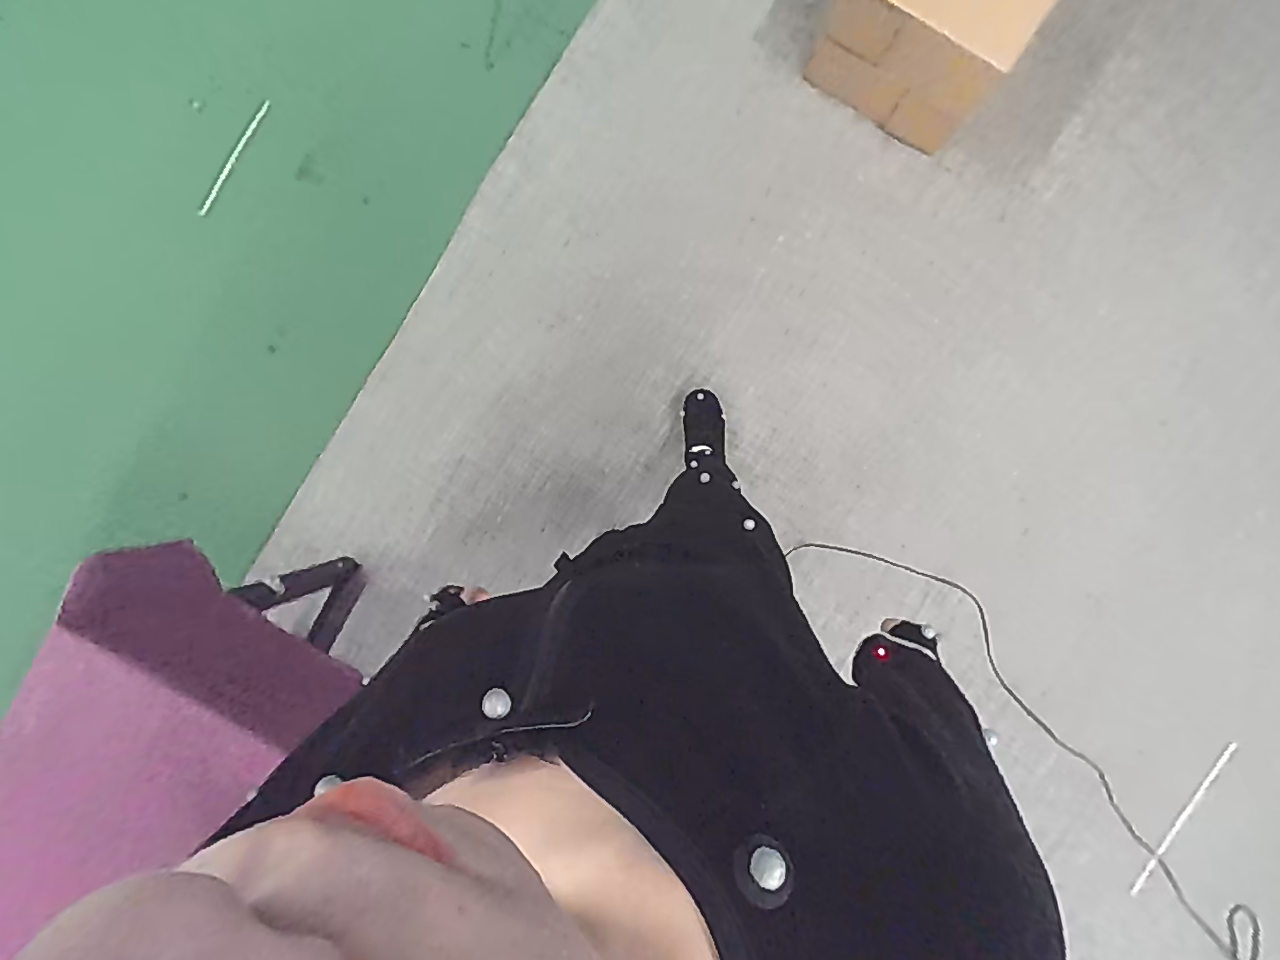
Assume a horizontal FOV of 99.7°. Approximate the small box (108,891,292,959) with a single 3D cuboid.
[{"bbox_3d":[-0.512,0.596,0.560,0.168,0.176,0.179,32,92,1],"label":"small box"}]
